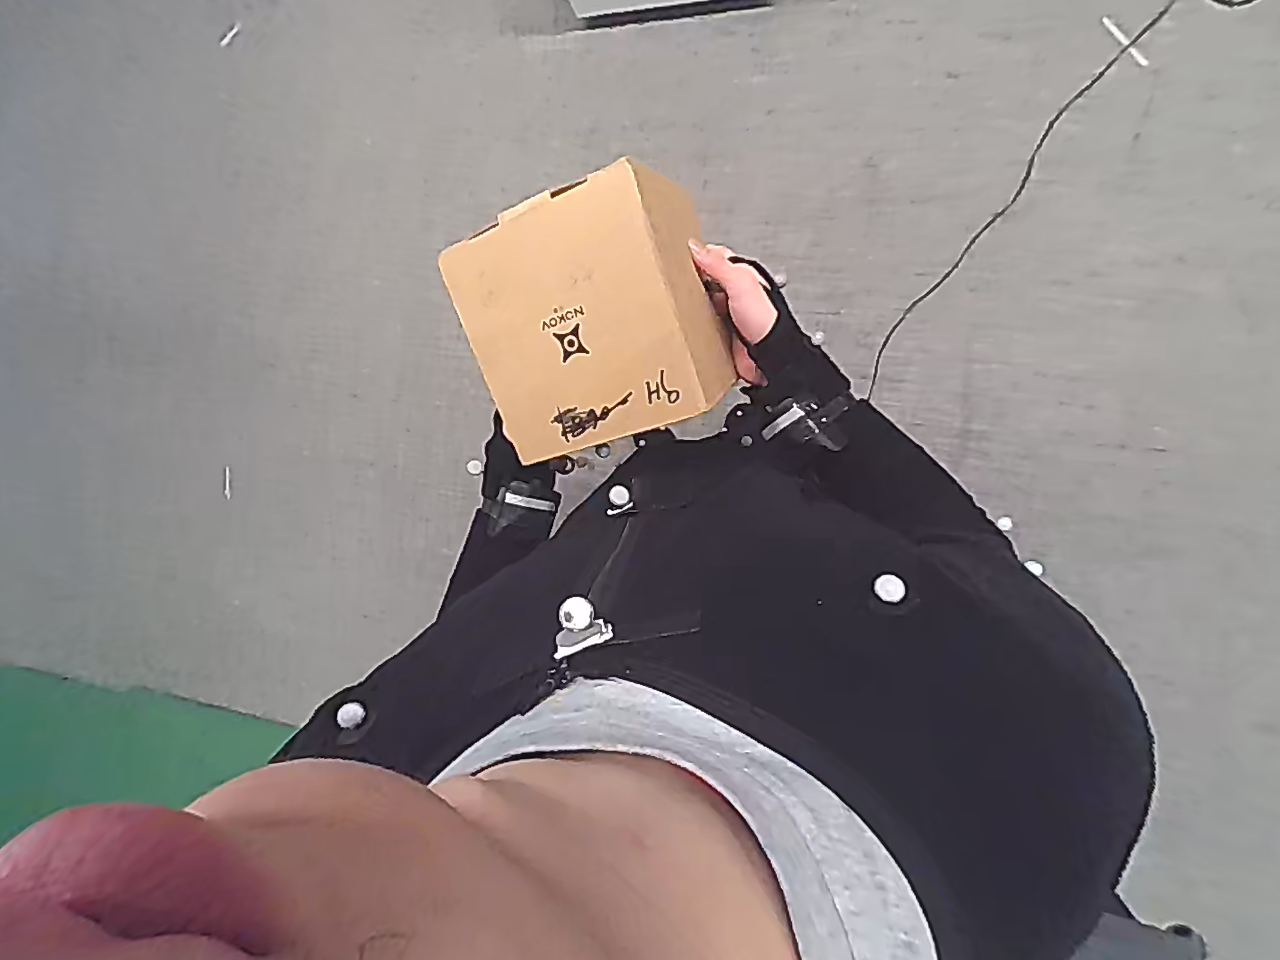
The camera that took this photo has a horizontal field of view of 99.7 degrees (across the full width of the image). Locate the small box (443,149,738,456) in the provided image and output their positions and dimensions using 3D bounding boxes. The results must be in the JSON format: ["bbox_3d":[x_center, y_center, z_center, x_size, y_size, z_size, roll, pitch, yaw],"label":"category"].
[{"bbox_3d":[-0.025,-0.140,0.464,0.168,0.176,0.179,-14,103,23],"label":"small box"}]
